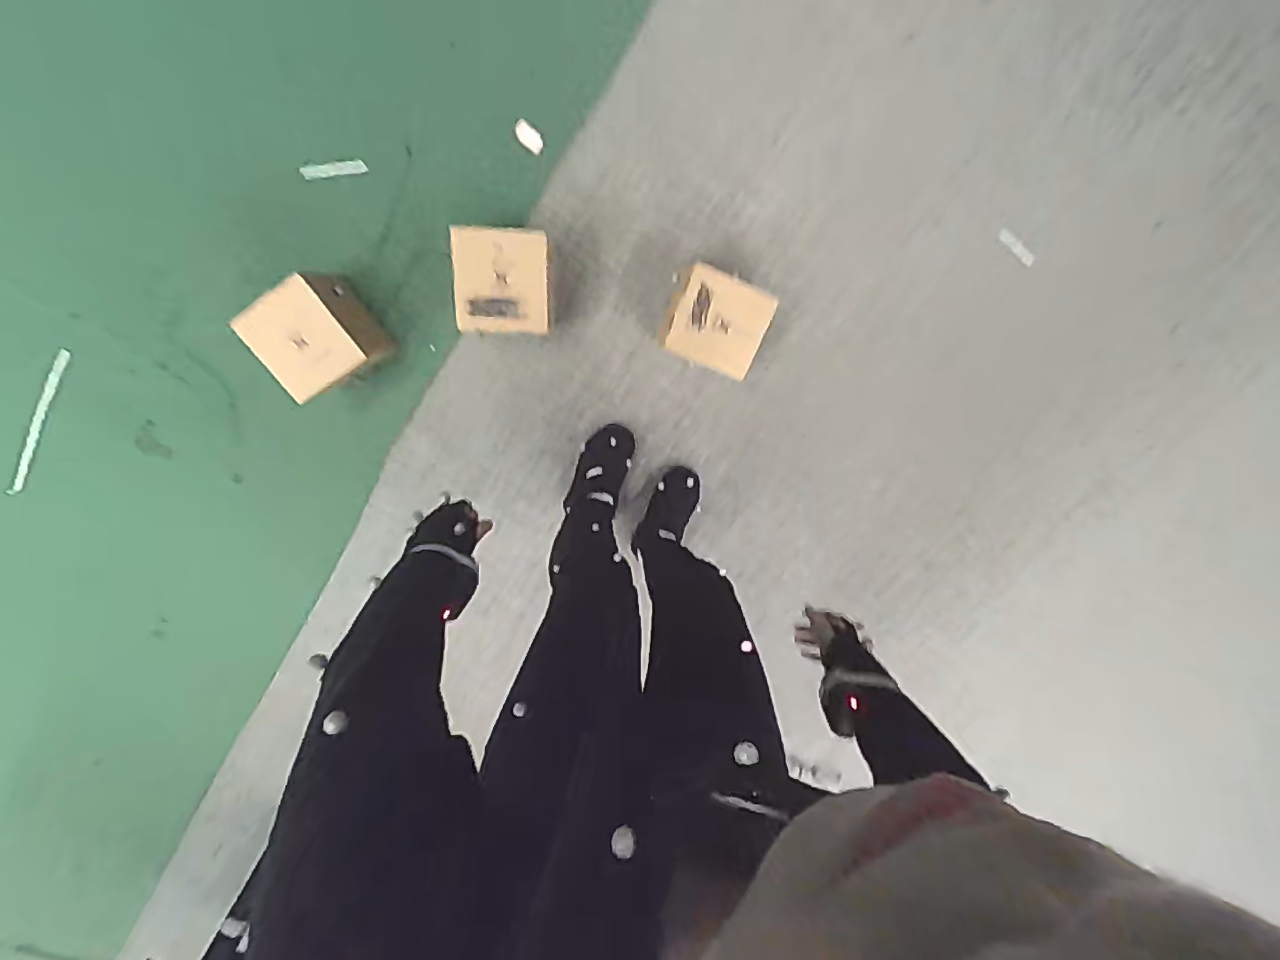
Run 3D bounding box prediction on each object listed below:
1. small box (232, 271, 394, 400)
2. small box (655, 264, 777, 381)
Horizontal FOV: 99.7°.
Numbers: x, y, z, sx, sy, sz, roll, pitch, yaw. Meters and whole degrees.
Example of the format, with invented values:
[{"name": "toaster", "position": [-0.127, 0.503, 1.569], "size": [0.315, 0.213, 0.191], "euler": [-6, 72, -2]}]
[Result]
[{"name": "small box", "position": [-0.623, -0.282, 1.056], "size": [0.168, 0.176, 0.179], "euler": [-31, 109, 7]}, {"name": "small box", "position": [0.142, -0.319, 1.097], "size": [0.179, 0.176, 0.168], "euler": [20, 107, -12]}]
